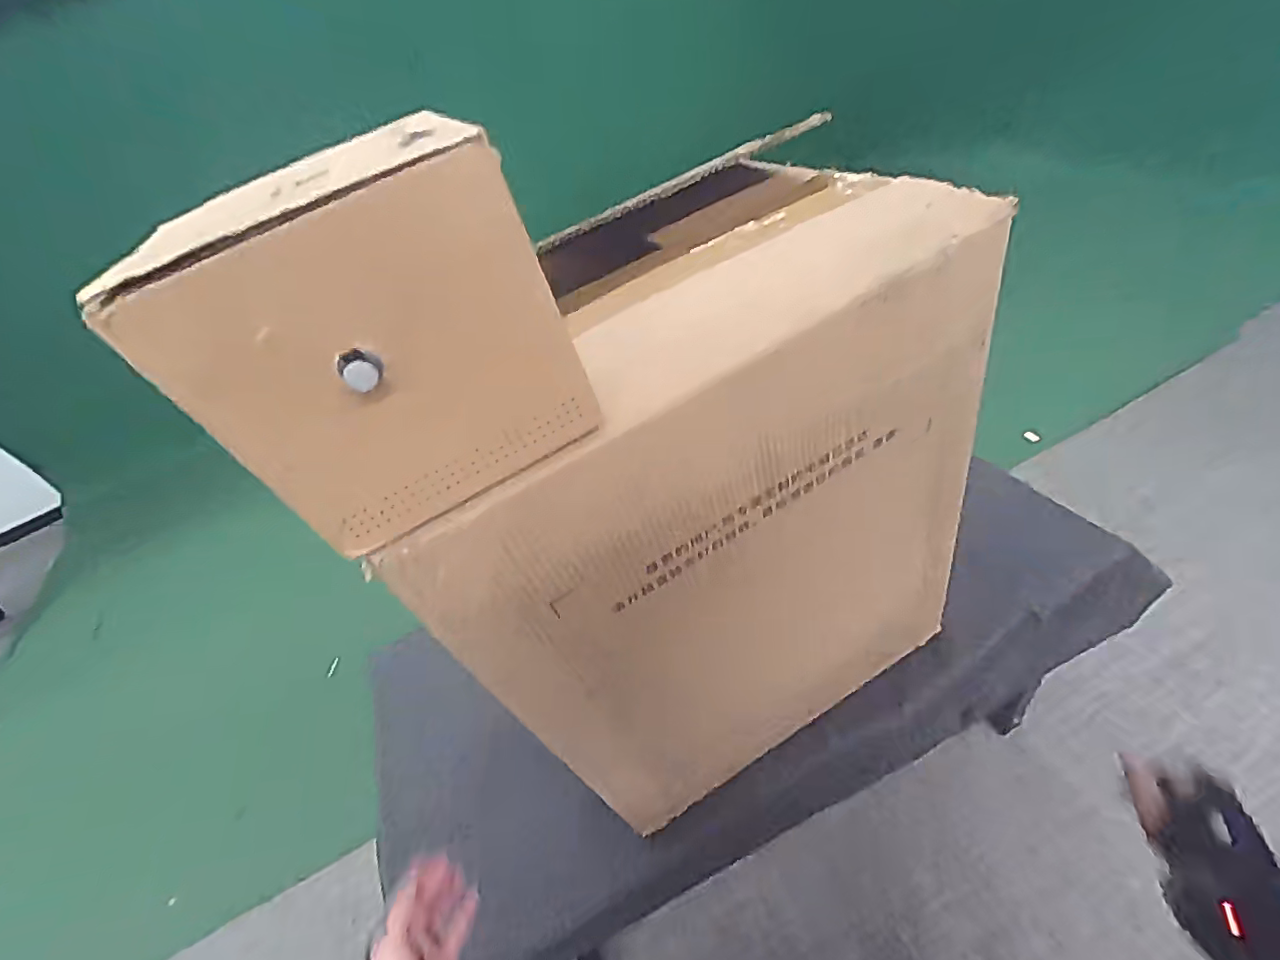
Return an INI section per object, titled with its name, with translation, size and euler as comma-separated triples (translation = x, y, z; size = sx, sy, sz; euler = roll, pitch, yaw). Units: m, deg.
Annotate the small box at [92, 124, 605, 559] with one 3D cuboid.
[small box]
translation = -0.147, -0.084, 0.329
size = 0.179, 0.176, 0.168
euler = -30, 44, -8
